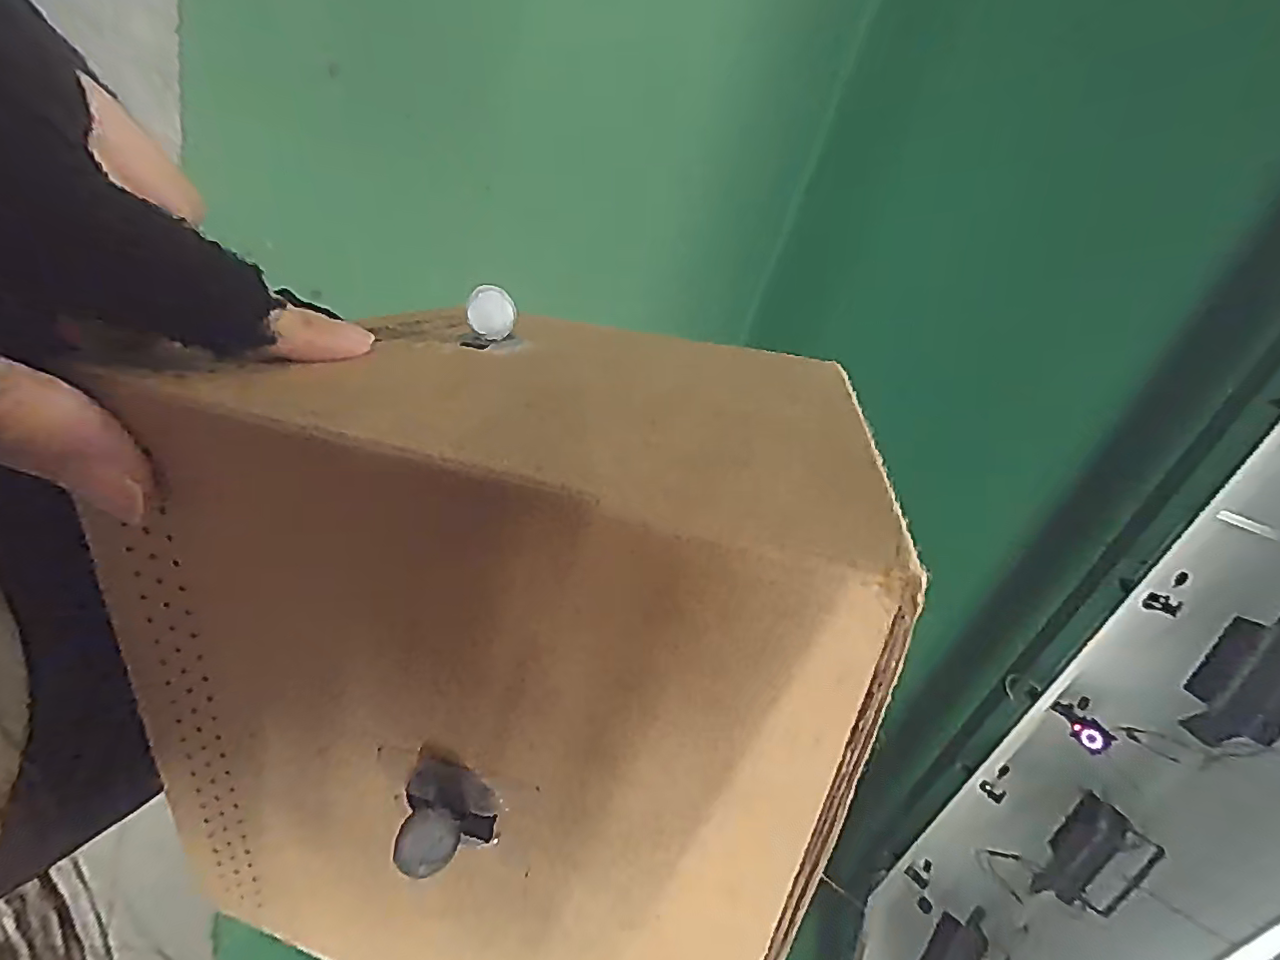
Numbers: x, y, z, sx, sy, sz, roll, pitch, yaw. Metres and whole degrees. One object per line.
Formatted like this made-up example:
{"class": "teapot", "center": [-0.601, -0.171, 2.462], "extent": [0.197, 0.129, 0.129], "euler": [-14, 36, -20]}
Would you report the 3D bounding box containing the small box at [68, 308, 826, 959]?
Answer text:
{"class": "small box", "center": [-0.040, 0.042, 0.204], "extent": [0.168, 0.176, 0.179], "euler": [-54, 154, -65]}
